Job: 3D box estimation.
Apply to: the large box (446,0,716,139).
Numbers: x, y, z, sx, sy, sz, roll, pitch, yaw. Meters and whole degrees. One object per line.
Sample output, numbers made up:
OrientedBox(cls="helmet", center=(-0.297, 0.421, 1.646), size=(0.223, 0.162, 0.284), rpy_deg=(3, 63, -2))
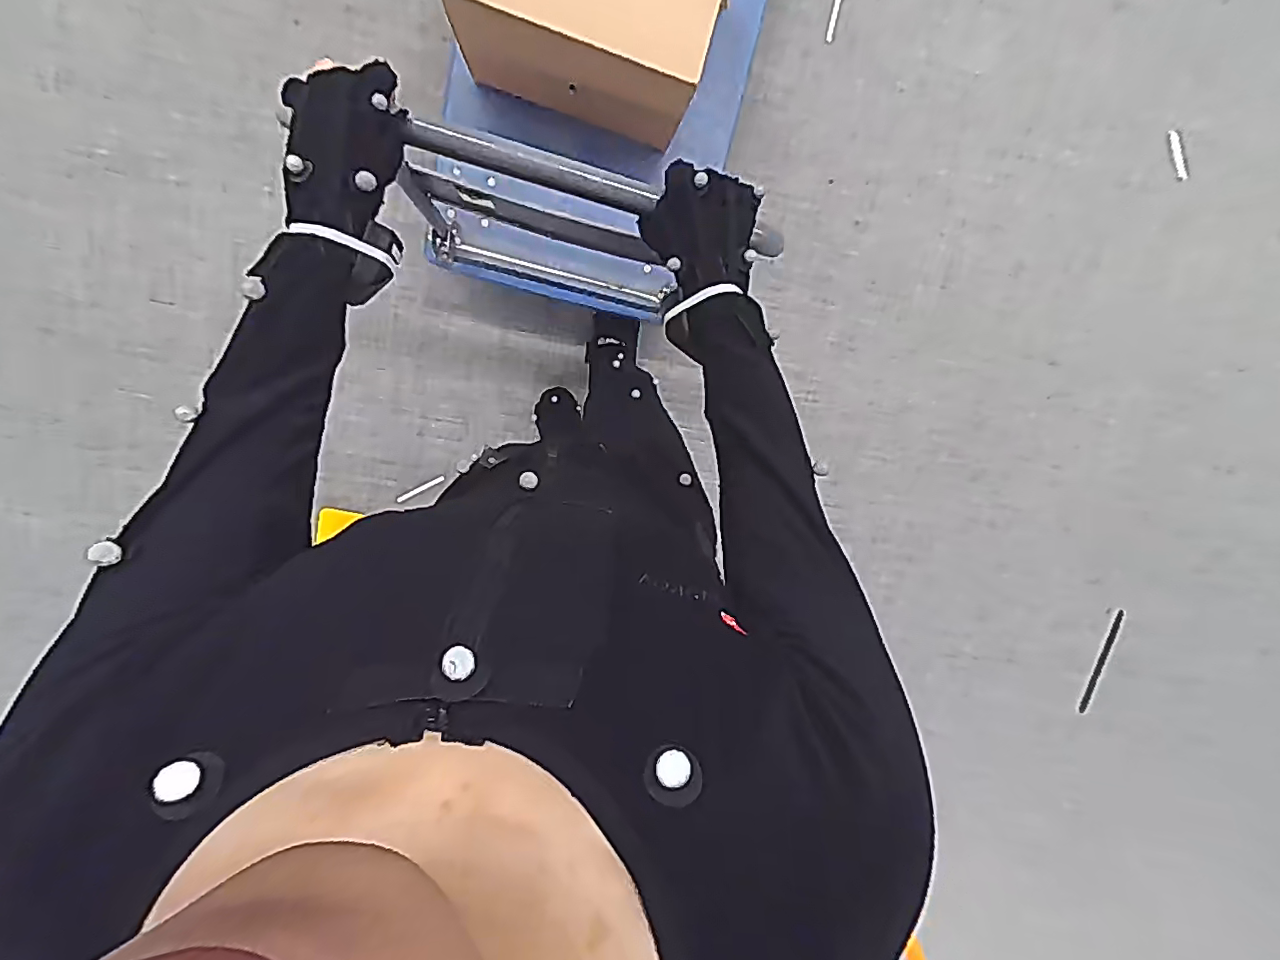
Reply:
OrientedBox(cls="large box", center=(-0.077, -0.856, 0.930), size=(0.408, 0.320, 0.320), rpy_deg=(14, 103, -9))
